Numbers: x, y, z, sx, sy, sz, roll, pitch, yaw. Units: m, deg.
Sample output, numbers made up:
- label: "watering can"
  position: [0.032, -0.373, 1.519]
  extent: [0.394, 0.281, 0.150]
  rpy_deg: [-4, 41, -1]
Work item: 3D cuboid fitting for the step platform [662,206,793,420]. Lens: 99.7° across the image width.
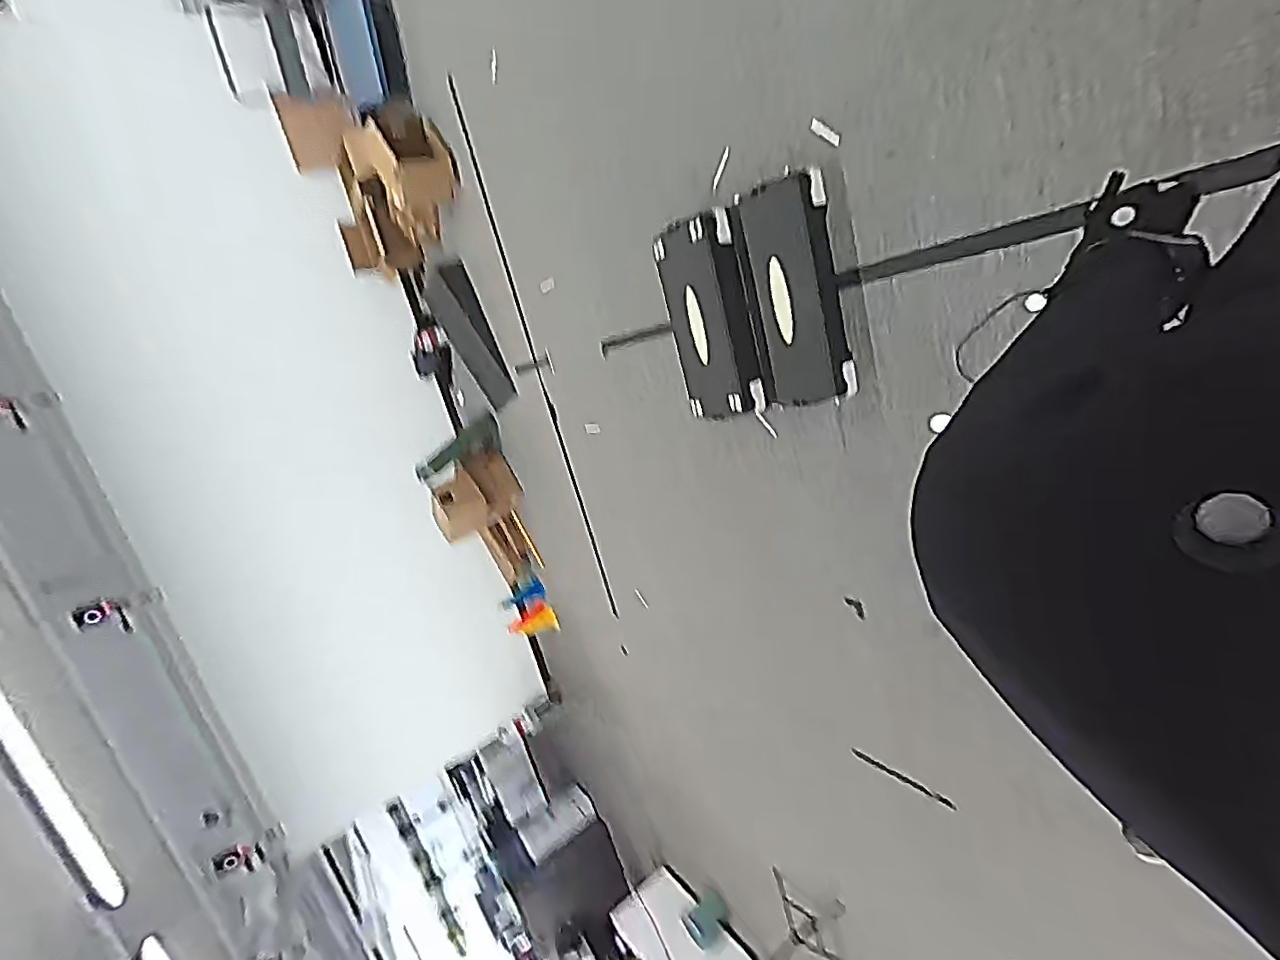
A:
- label: "step platform"
  position: [0.298, -0.549, 1.858]
  extent: [0.286, 0.204, 0.684]
  rpy_deg: [3, 112, 55]
